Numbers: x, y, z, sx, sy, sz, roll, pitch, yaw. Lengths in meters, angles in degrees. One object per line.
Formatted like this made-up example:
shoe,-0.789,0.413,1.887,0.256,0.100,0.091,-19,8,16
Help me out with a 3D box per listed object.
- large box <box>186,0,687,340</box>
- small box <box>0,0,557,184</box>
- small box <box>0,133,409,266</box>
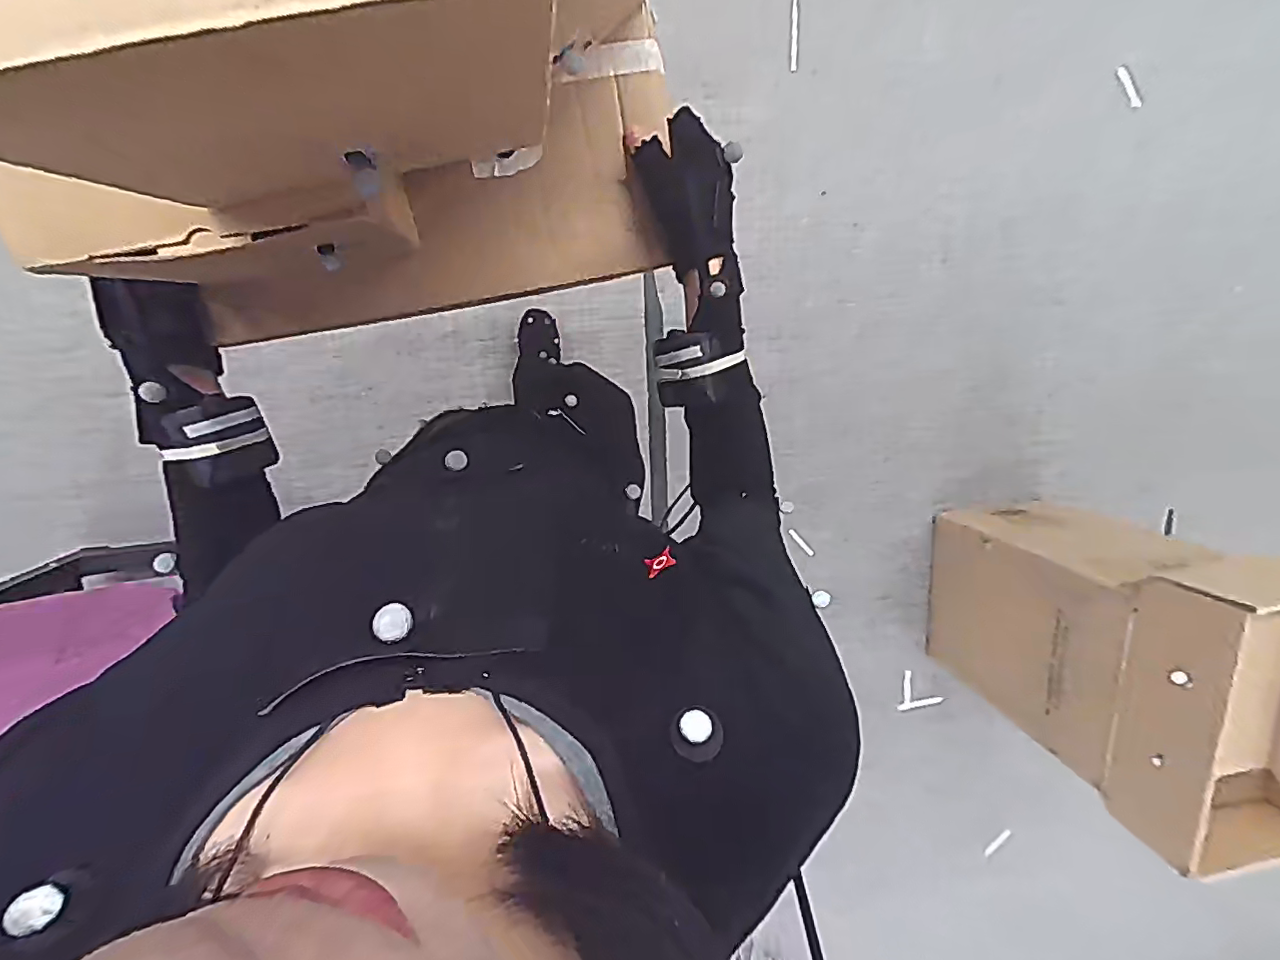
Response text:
large box,-0.206,-0.346,0.542,0.408,0.320,0.320,-14,112,-8
small box,-0.132,-0.207,0.165,0.179,0.176,0.168,-15,111,-6
small box,-0.251,-0.227,0.311,0.168,0.176,0.179,-15,110,-9
